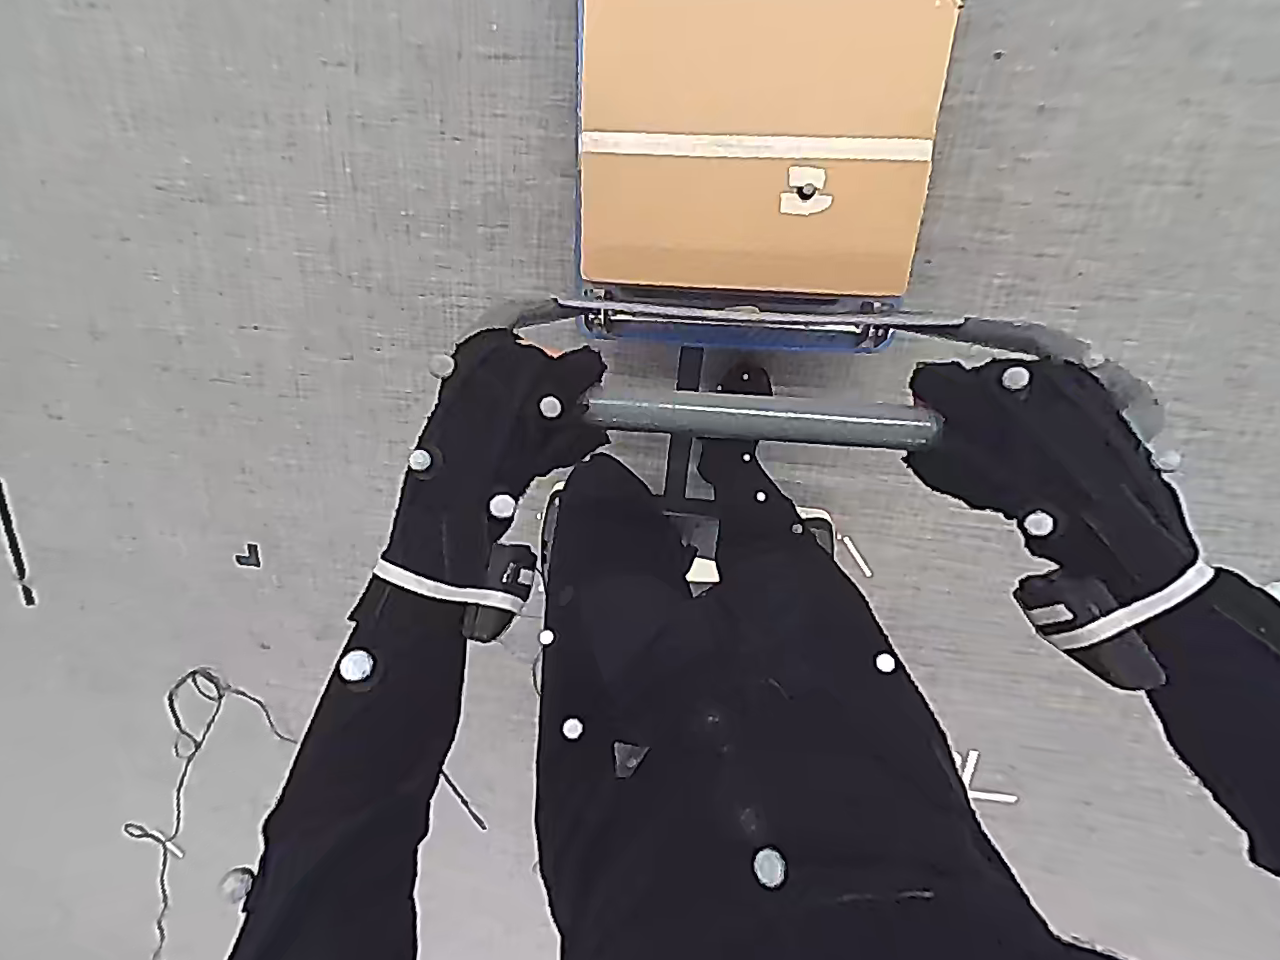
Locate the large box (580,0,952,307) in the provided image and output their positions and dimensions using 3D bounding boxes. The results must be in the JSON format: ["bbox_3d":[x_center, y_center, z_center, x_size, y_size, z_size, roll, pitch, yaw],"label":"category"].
[{"bbox_3d":[0.139,-0.414,0.767,0.408,0.320,0.320,4,109,4],"label":"large box"}]
